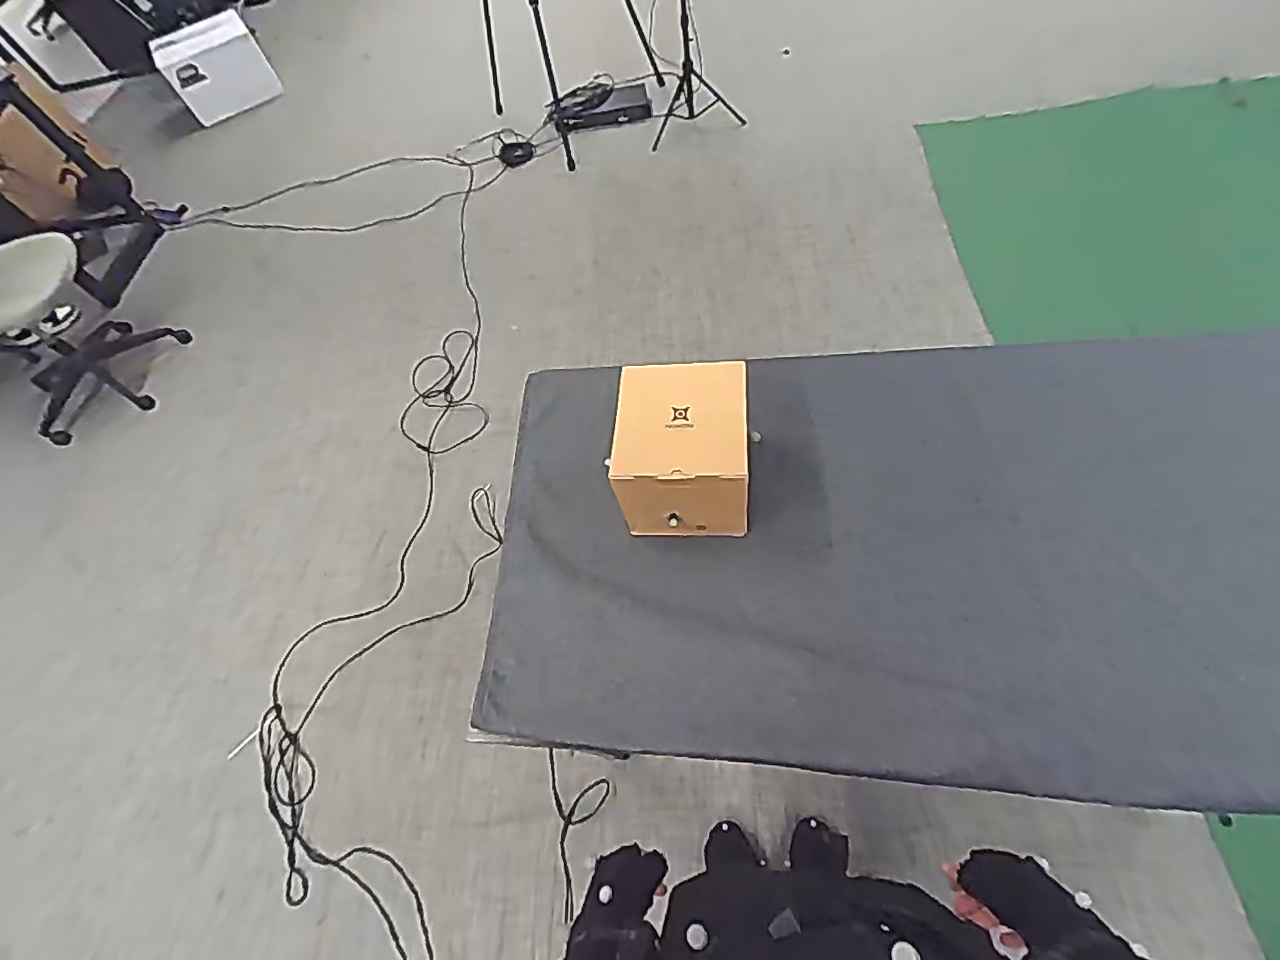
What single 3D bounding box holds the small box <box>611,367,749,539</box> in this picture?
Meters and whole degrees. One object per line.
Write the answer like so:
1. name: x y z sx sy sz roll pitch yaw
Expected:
1. small box: 0.063 -0.033 0.743 0.168 0.176 0.179 0 61 10
